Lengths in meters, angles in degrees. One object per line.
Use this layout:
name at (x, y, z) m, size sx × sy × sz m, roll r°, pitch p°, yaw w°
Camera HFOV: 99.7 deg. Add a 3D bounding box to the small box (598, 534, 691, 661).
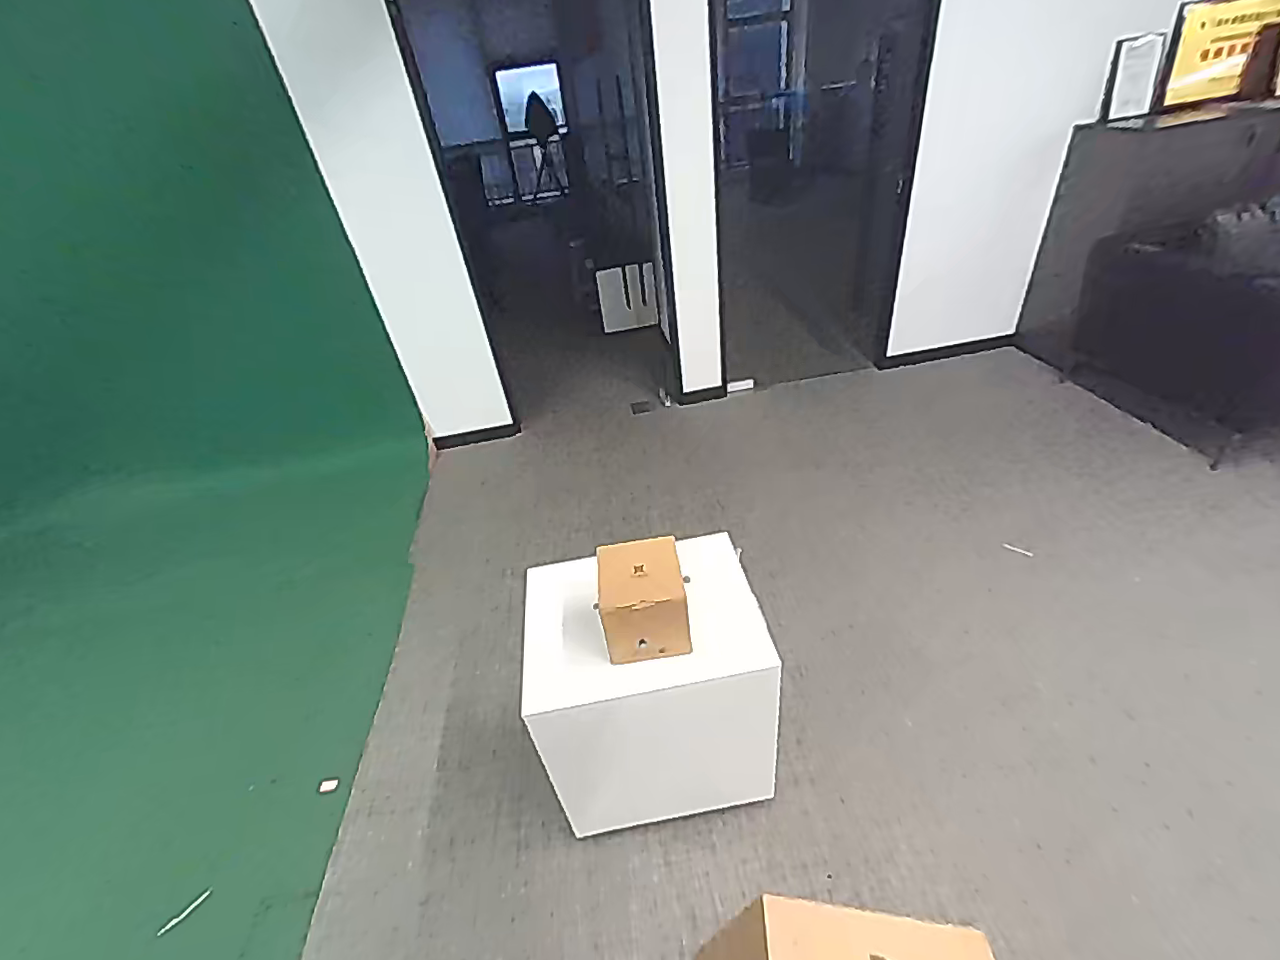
small box at (0.007, 0.238, 1.098) m, size 0.168 × 0.176 × 0.179 m, roll -9°, pitch 35°, yaw 0°
